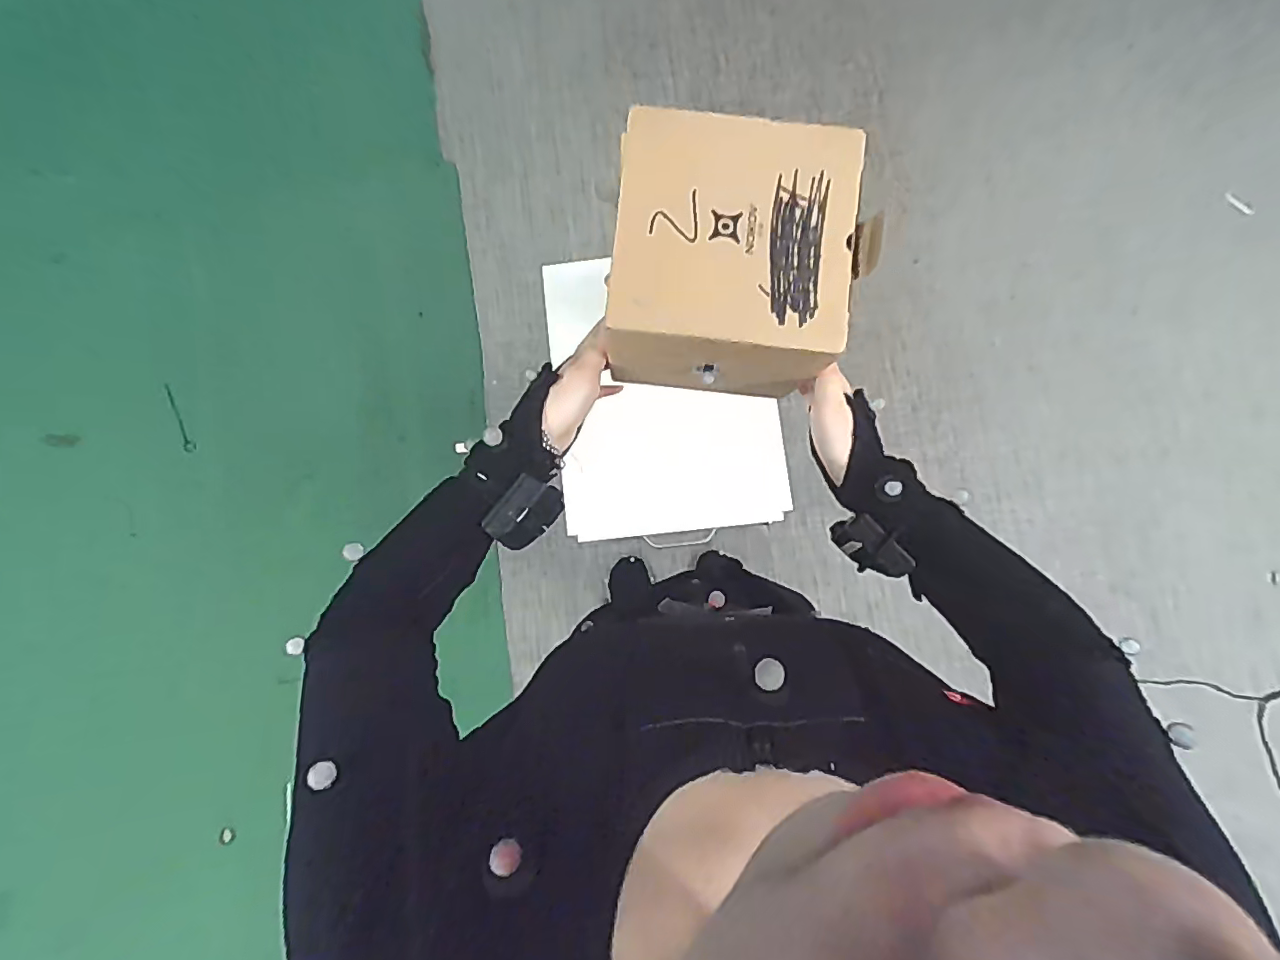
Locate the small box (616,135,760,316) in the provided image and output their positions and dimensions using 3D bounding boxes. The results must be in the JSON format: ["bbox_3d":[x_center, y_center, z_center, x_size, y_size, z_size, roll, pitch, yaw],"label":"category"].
[{"bbox_3d":[0.061,-0.337,0.745,0.179,0.176,0.168,-1,82,1],"label":"small box"}]
